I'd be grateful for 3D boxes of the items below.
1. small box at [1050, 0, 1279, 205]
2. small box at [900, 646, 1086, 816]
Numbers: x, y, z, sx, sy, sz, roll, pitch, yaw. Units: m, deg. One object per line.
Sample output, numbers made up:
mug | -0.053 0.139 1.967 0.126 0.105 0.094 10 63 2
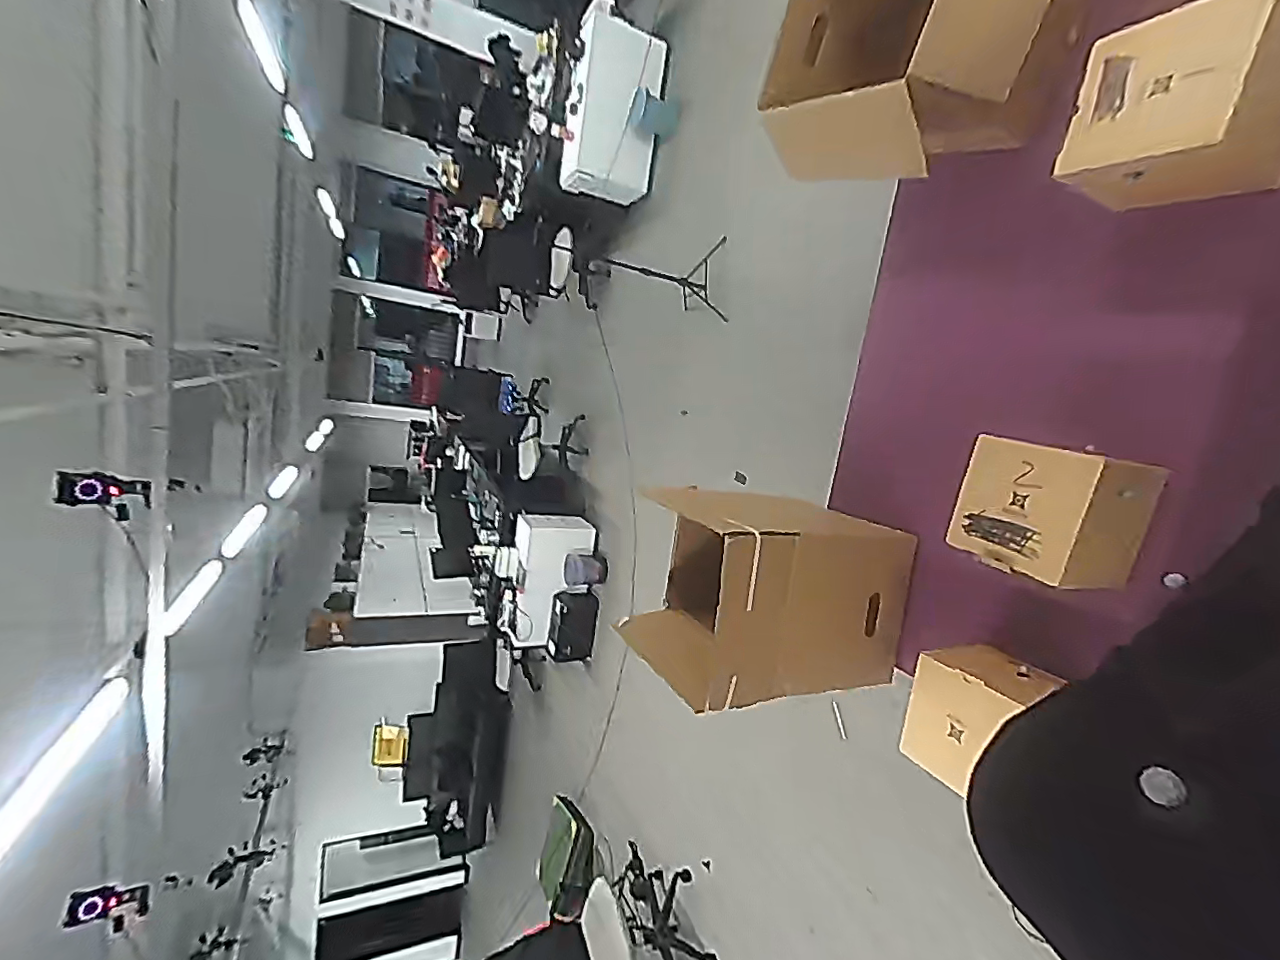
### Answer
small box | 0.678 -0.464 0.678 0.179 0.176 0.168 -146 63 -61
small box | 0.544 0.375 0.840 0.168 0.176 0.179 -158 75 -64
